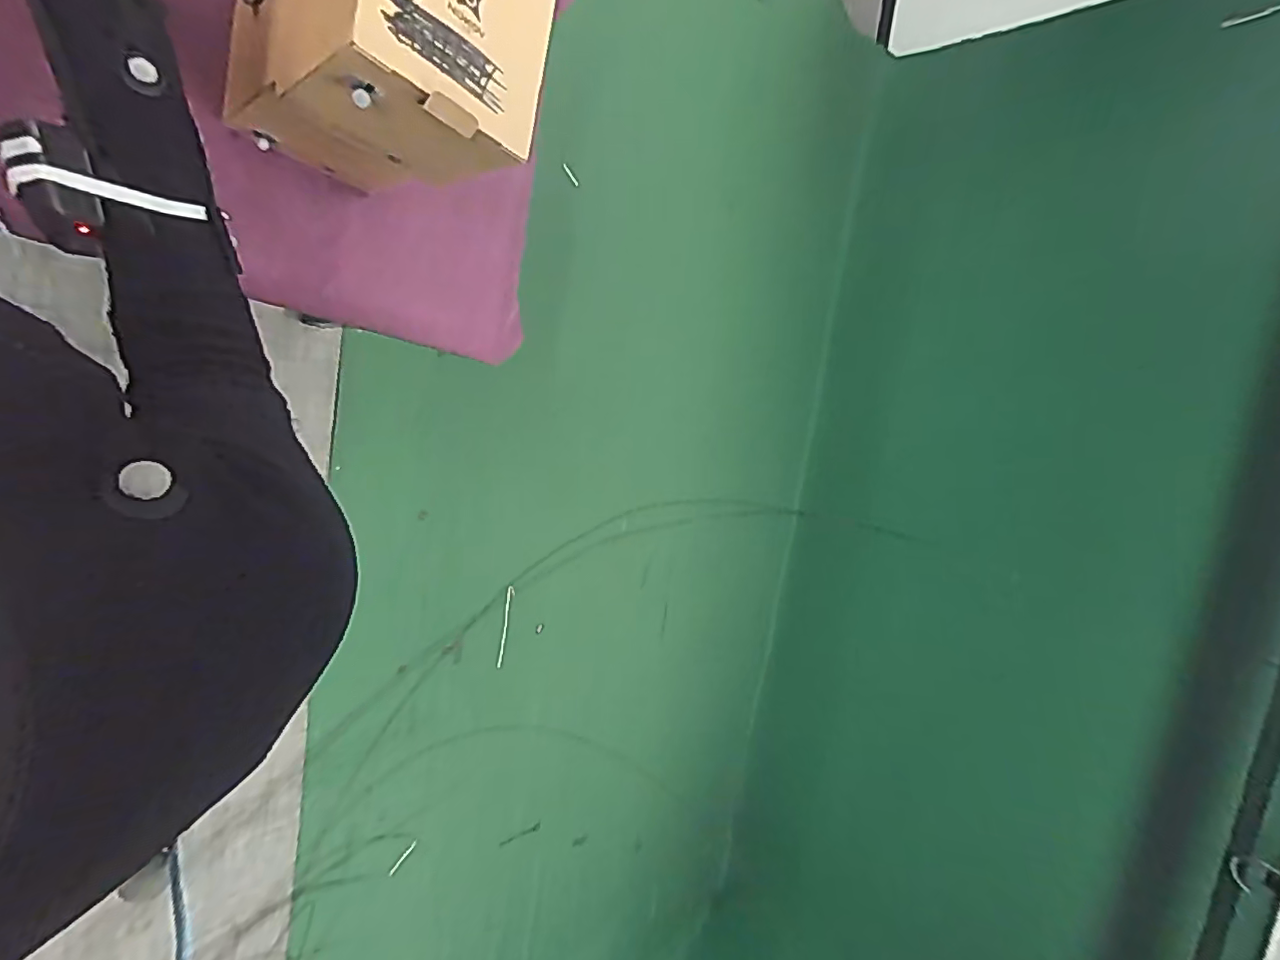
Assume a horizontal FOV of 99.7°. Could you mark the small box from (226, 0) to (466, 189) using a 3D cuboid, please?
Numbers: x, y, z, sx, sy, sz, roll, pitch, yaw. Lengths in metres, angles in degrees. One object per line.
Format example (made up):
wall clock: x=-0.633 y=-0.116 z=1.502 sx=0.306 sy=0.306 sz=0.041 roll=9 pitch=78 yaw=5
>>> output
small box: x=-0.327 y=-0.451 z=0.599 sx=0.168 sy=0.176 sz=0.179 roll=10 pitch=94 yaw=-54
